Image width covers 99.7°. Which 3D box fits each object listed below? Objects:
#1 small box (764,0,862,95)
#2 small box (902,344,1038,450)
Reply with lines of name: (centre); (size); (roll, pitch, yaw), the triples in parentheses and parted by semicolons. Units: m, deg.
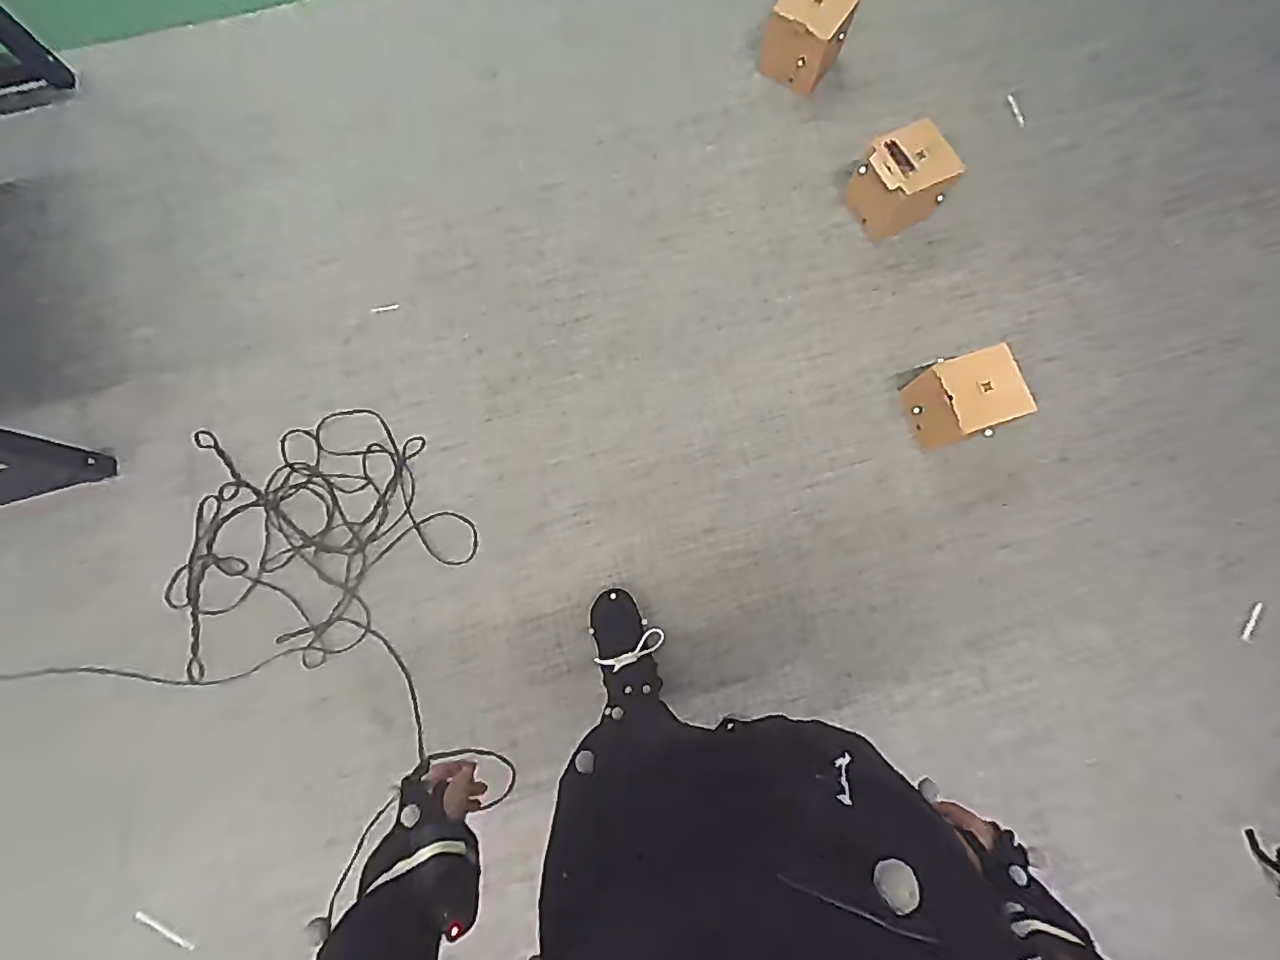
small box: (0.447, -1.175, 1.427); (0.168, 0.176, 0.179); (34, 79, 5)
small box: (0.739, -0.183, 1.232); (0.179, 0.176, 0.168); (-17, 80, -4)
